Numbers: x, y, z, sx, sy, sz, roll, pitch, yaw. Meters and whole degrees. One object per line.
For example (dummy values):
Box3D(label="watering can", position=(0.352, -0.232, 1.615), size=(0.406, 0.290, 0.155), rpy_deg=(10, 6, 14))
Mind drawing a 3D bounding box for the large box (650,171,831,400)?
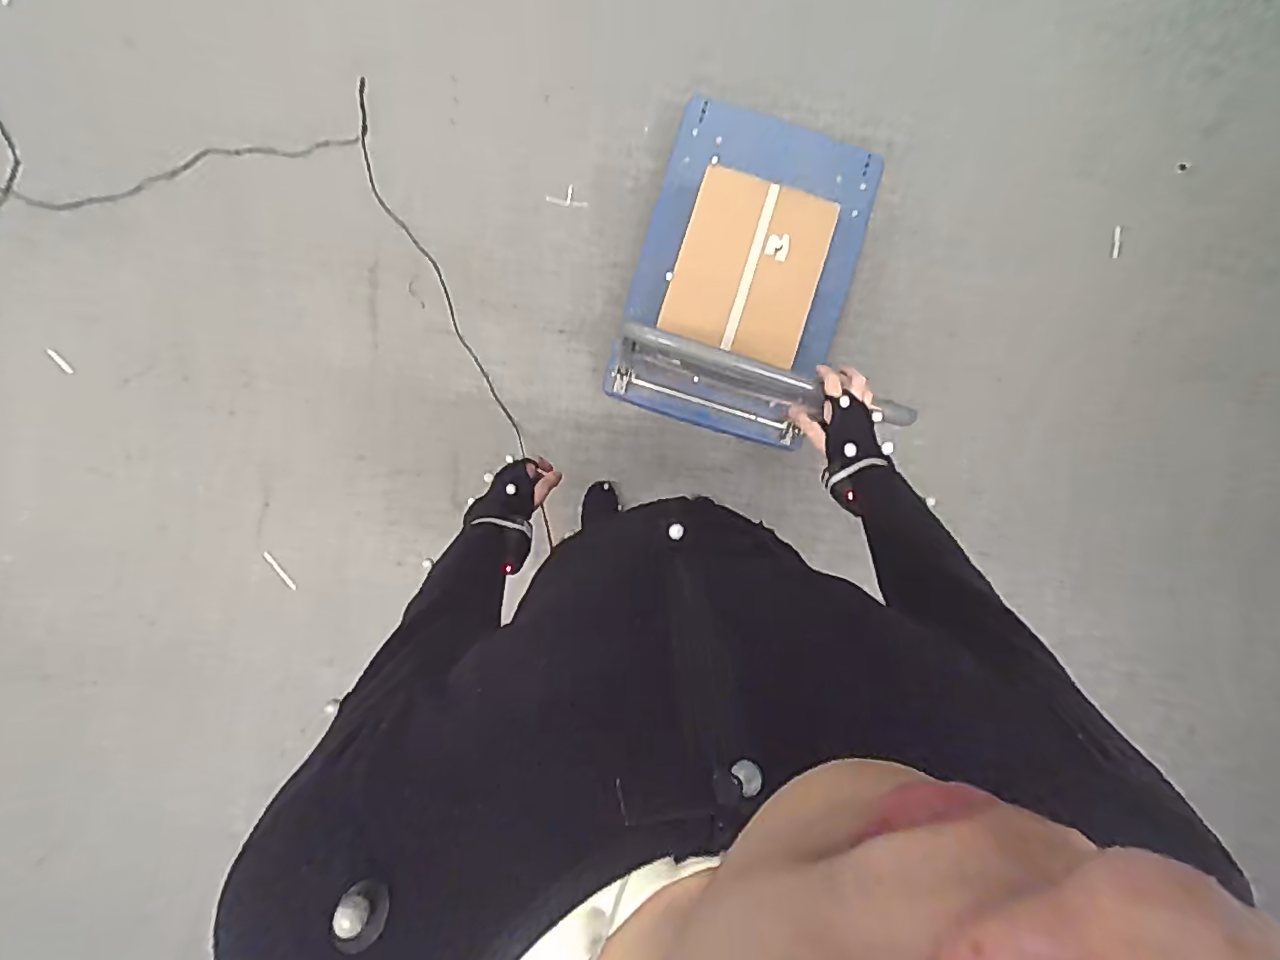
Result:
Box3D(label="large box", position=(0.227, -0.454, 1.349), size=(0.320, 0.320, 0.408), rpy_deg=(17, 87, -2))
